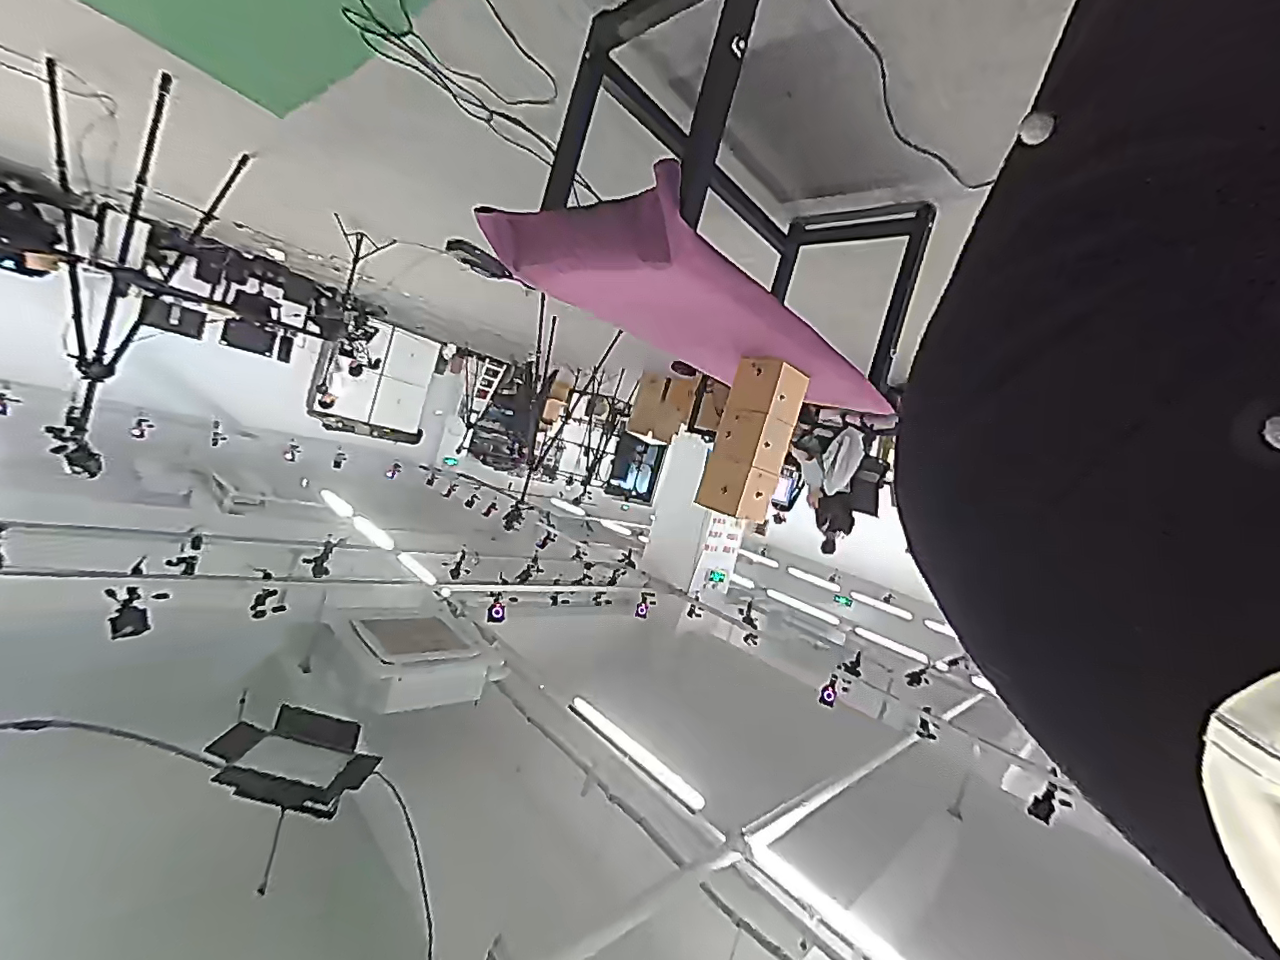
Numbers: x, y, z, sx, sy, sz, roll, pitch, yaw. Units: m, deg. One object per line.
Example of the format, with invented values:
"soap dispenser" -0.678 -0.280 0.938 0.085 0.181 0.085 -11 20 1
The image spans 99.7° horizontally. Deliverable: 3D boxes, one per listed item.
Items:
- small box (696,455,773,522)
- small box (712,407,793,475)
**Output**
"small box" 0.313 0.025 1.750 0.168 0.176 0.179 16 -178 -45
"small box" 0.364 -0.129 1.739 0.168 0.176 0.179 19 -177 44
